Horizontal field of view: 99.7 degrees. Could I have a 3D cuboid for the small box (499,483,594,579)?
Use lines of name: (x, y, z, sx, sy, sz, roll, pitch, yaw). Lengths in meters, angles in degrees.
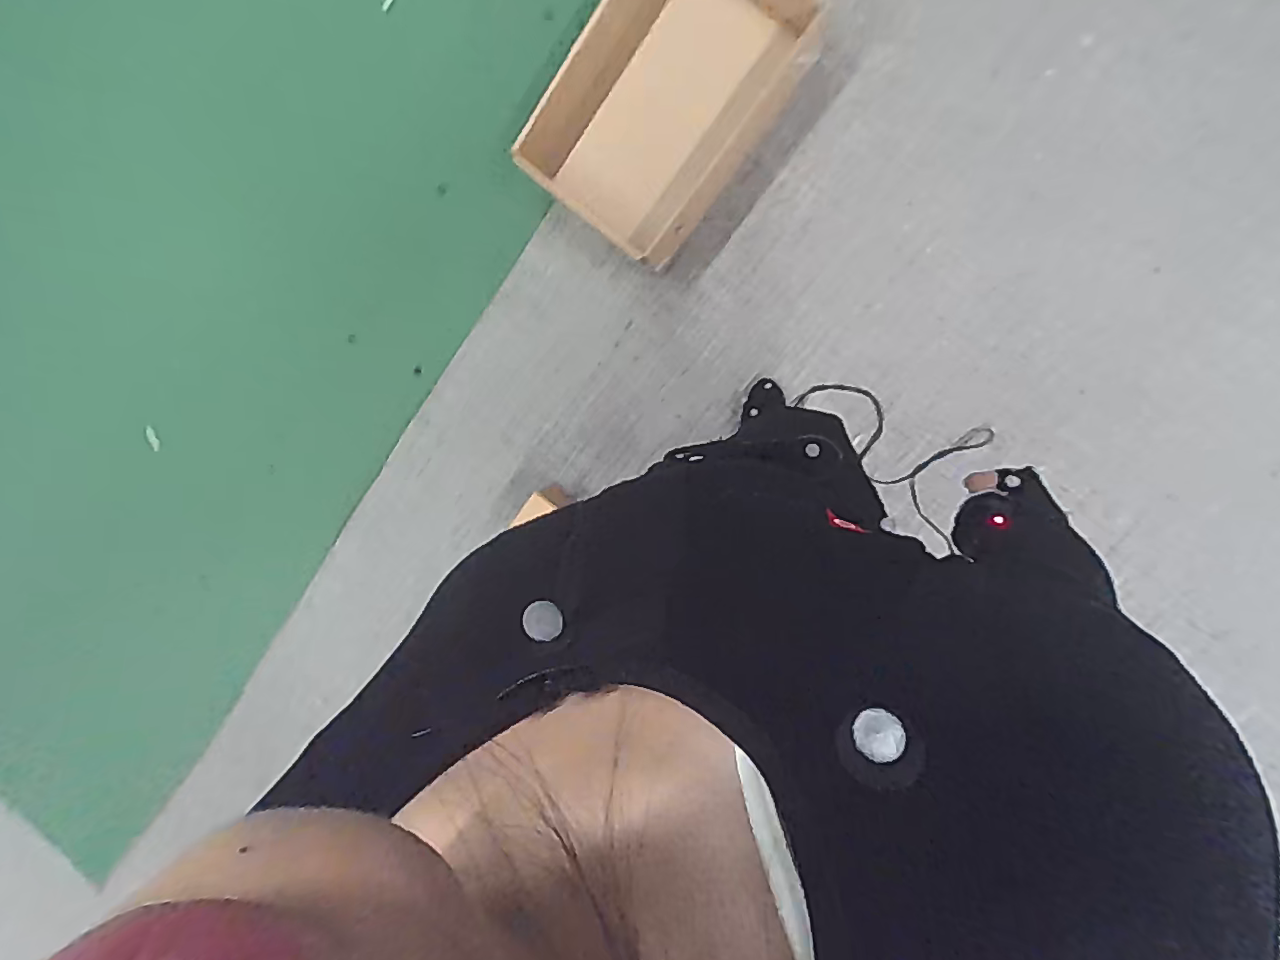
small box: (-0.245, 0.131, 1.465, 0.168, 0.176, 0.179, 37, 102, 0)
